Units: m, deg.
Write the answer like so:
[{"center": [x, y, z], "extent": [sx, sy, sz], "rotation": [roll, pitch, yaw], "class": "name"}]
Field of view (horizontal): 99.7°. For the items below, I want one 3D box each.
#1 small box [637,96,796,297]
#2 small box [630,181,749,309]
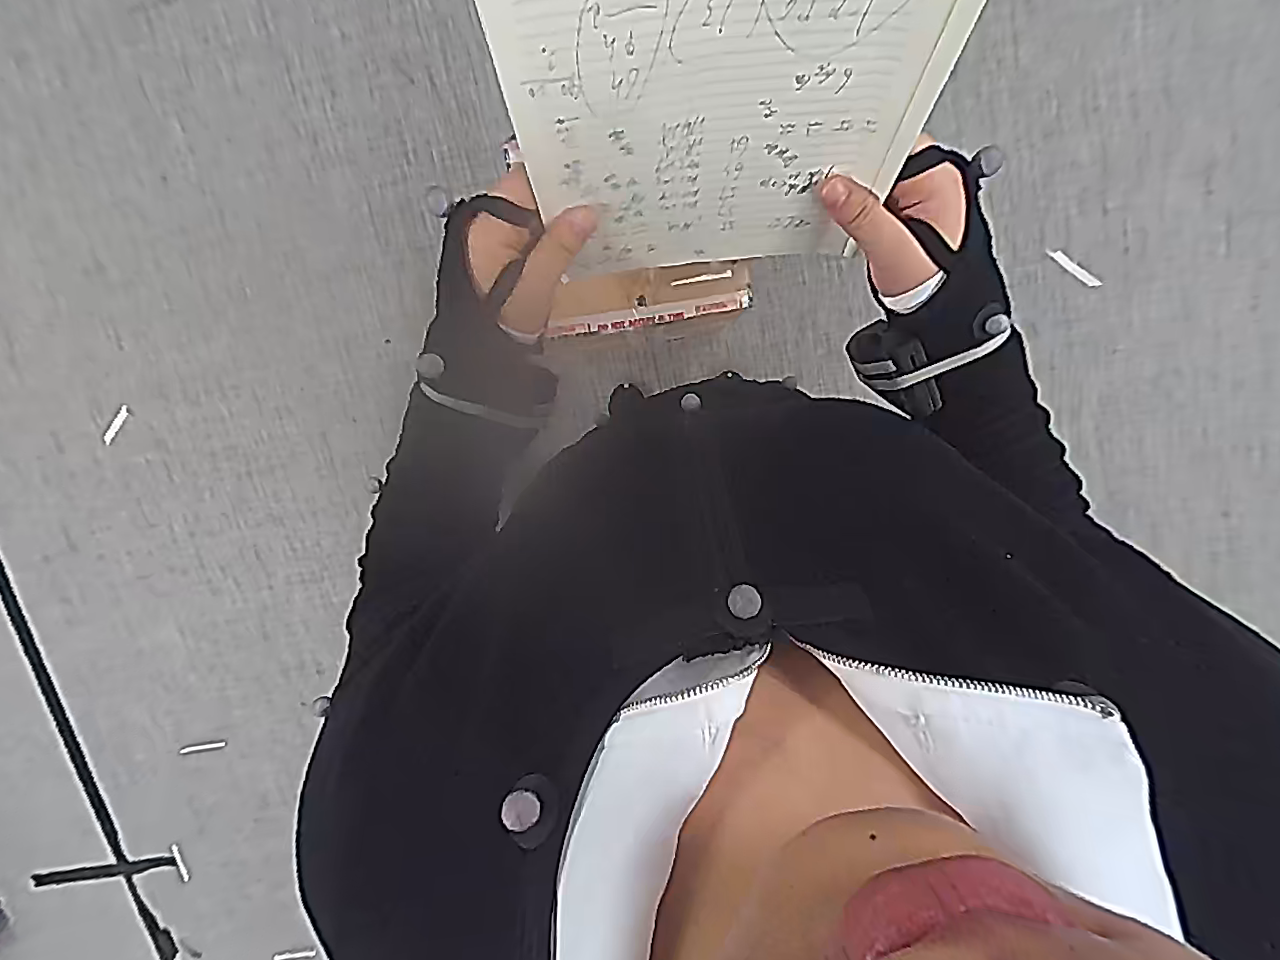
[{"center": [0.089, -0.349, 0.698], "extent": [0.168, 0.176, 0.179], "rotation": [-10, 102, 1], "class": "small box"}, {"center": [0.085, -0.380, 0.860], "extent": [0.179, 0.176, 0.168], "rotation": [-13, 101, 3], "class": "small box"}]
